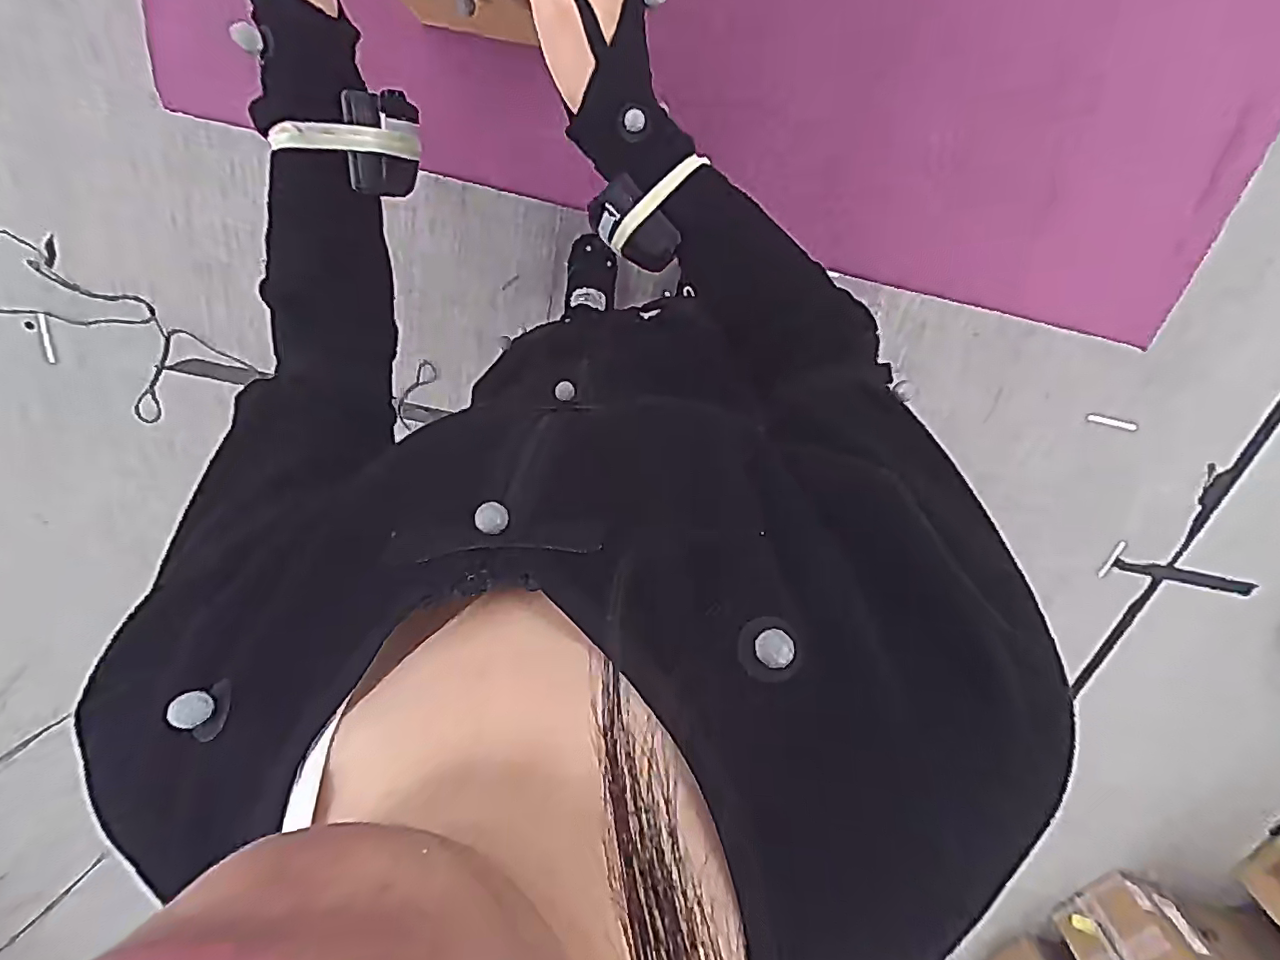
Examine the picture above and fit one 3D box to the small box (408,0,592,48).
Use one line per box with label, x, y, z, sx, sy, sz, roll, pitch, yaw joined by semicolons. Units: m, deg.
small box;-0.124;-0.499;0.456;0.179;0.176;0.168;9;115;-4
